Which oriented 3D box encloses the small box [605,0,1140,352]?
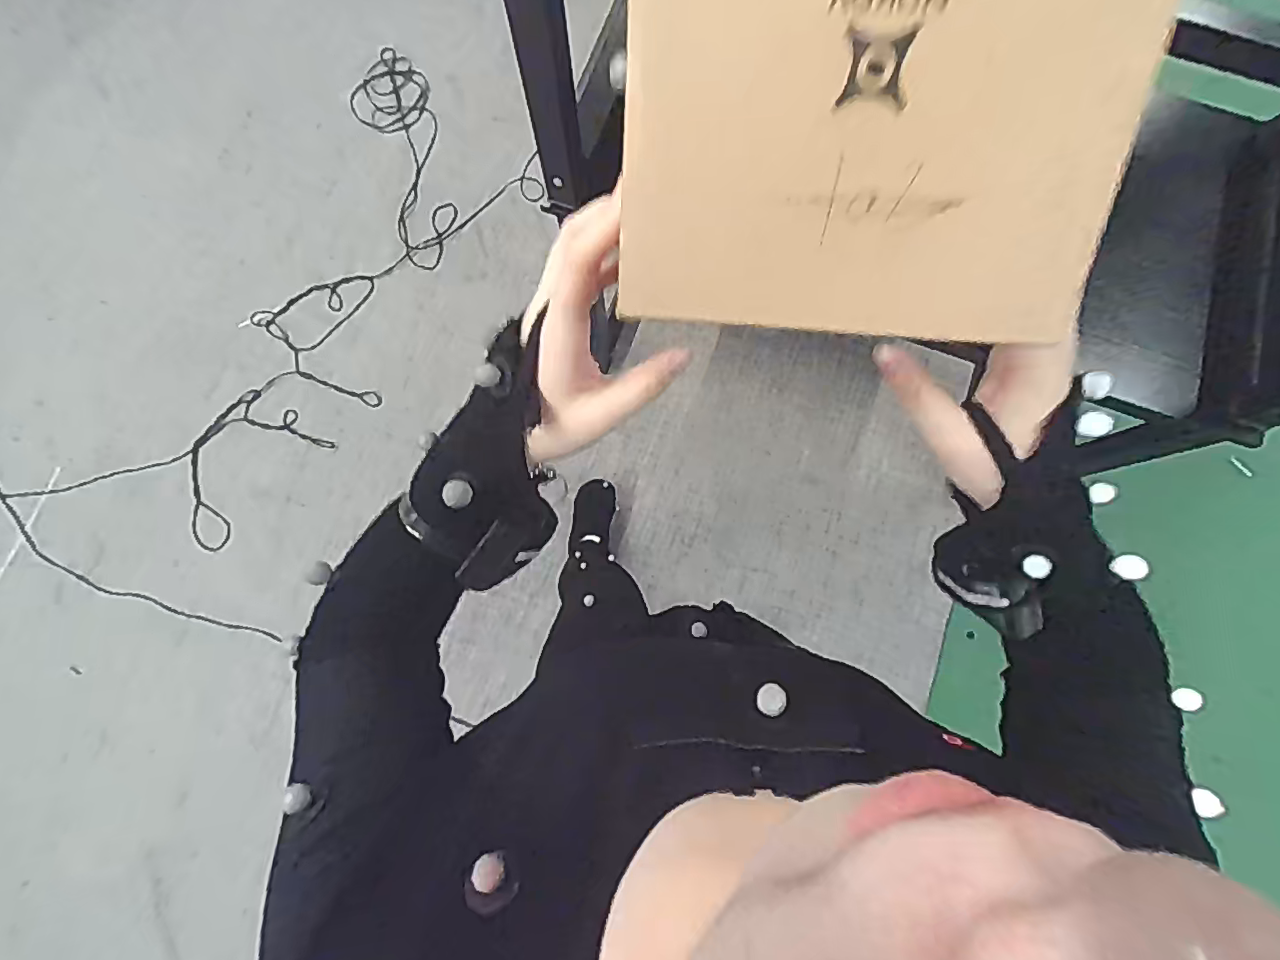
[{"bbox_3d":[0.084,-0.169,0.256,0.168,0.176,0.179,7,114,7],"label":"small box"}]
